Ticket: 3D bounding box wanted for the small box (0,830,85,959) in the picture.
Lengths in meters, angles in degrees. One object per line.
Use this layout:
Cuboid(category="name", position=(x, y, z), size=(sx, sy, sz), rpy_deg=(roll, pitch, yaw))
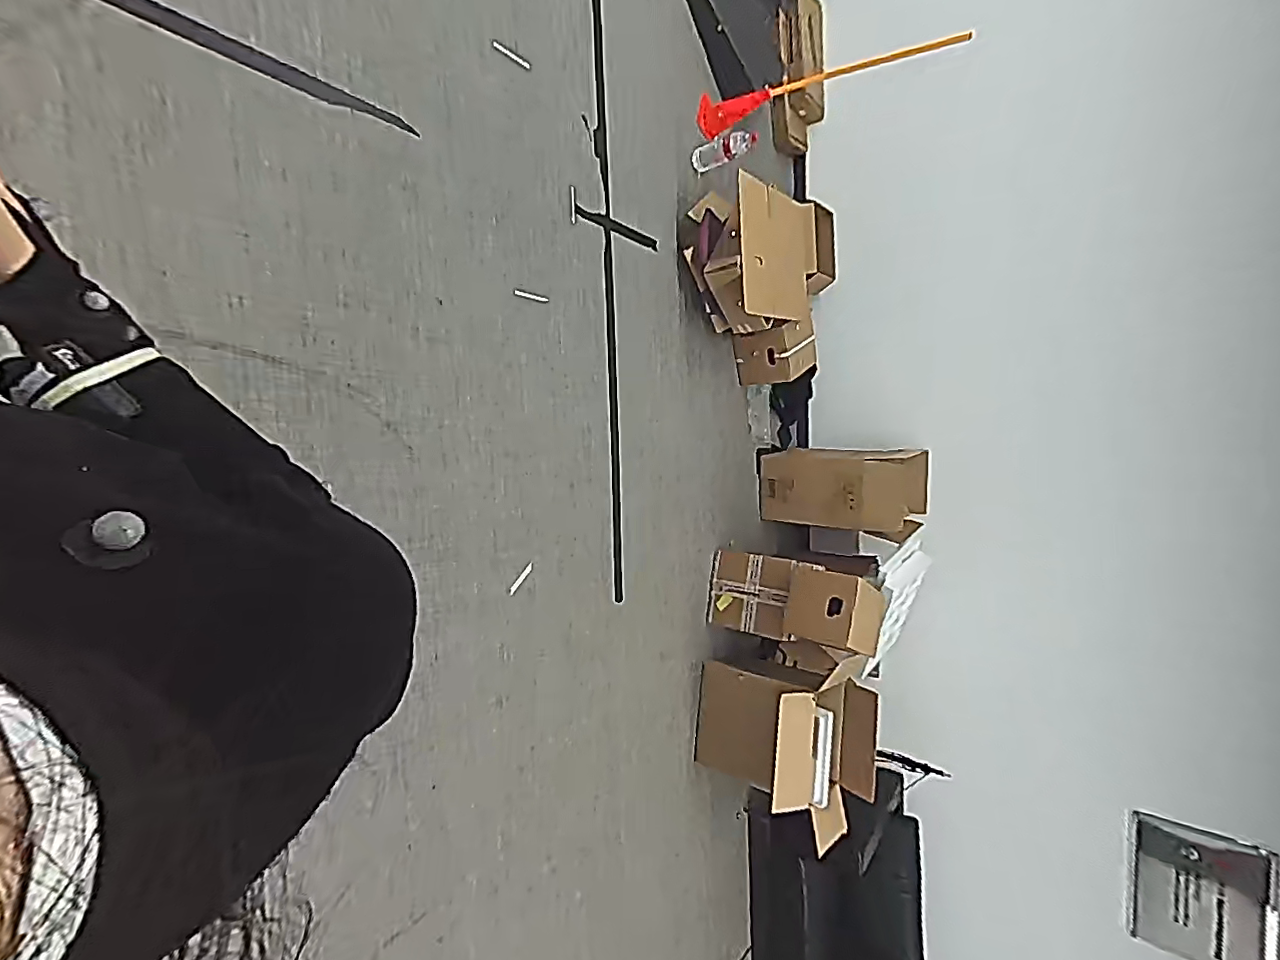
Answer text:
Cuboid(category="small box", position=(-0.683, 0.507, 0.545), size=(0.168, 0.176, 0.179), rpy_deg=(-8, 97, -51))
